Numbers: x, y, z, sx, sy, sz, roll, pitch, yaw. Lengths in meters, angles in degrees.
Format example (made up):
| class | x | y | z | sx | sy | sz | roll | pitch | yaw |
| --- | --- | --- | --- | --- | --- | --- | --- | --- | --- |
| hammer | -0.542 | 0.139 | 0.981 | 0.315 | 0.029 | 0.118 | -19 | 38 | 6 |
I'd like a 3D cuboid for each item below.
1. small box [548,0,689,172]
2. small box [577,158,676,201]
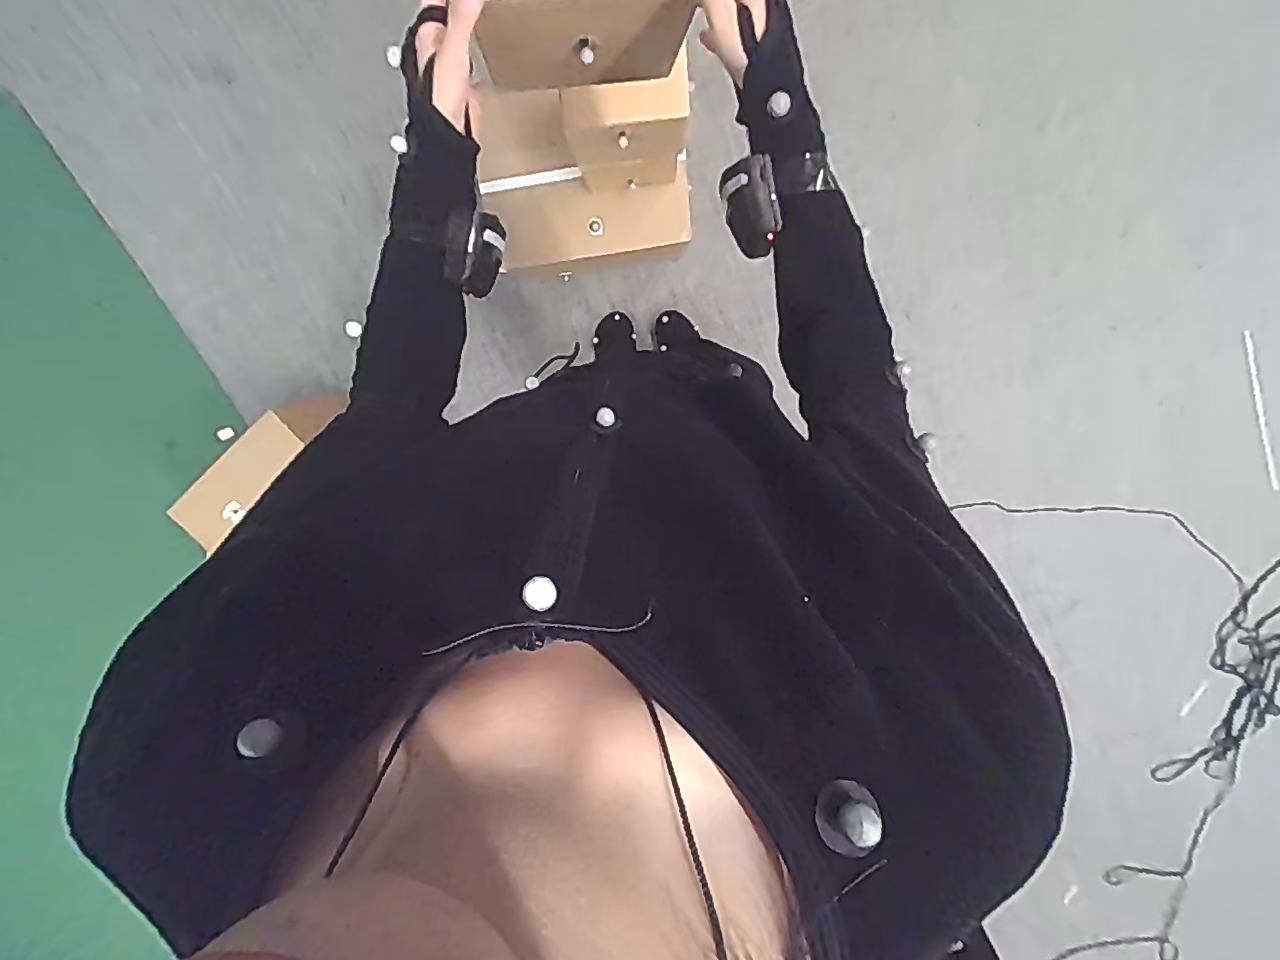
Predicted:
| class | x | y | z | sx | sy | sz | roll | pitch | yaw |
| --- | --- | --- | --- | --- | --- | --- | --- | --- | --- |
| small box | -0.025 | -0.569 | 0.791 | 0.179 | 0.176 | 0.168 | -4 | 105 | 3 |
| small box | -0.029 | -0.611 | 0.948 | 0.168 | 0.176 | 0.179 | -6 | 105 | 3 |
